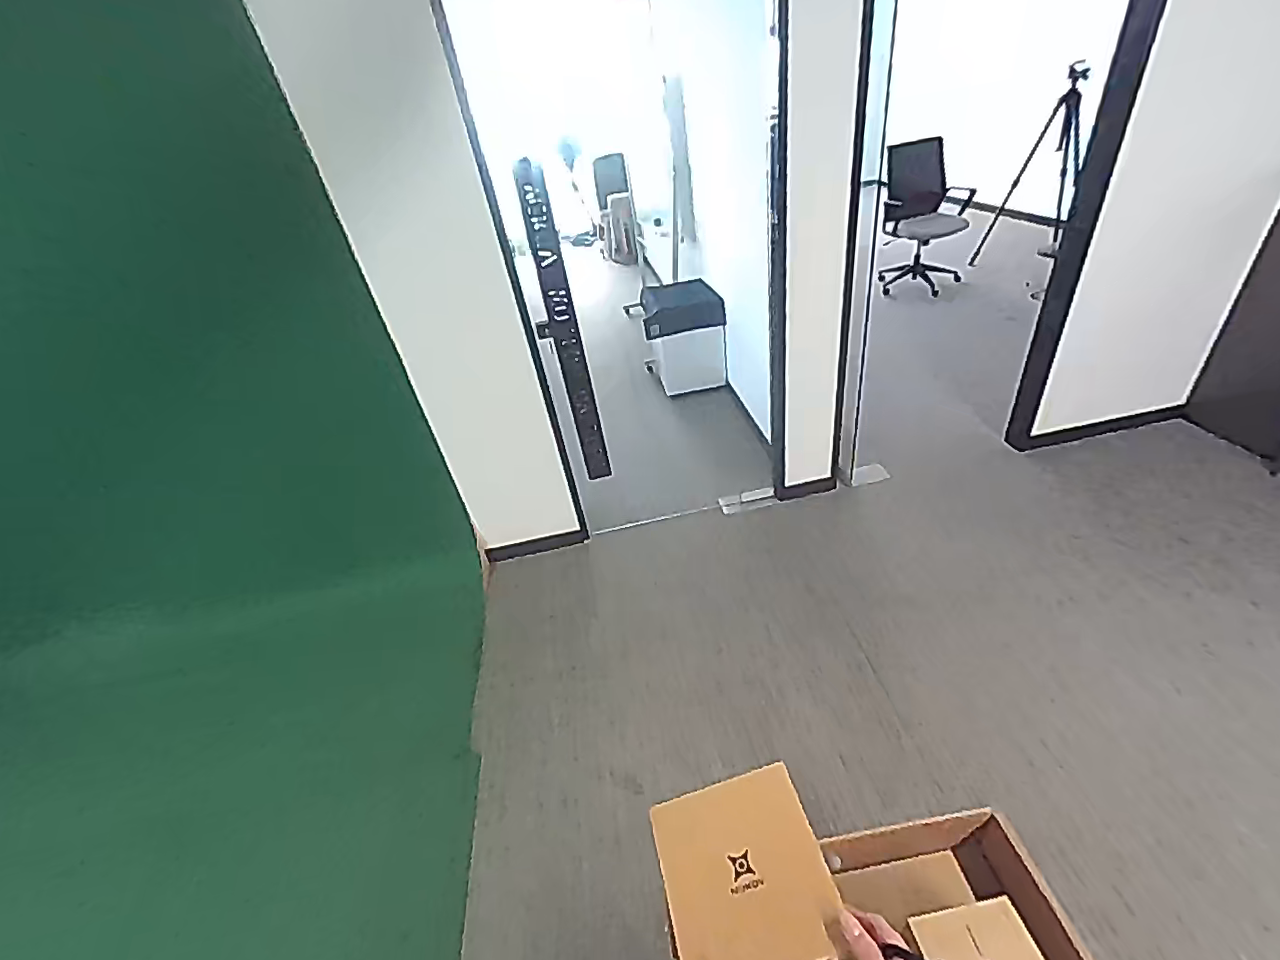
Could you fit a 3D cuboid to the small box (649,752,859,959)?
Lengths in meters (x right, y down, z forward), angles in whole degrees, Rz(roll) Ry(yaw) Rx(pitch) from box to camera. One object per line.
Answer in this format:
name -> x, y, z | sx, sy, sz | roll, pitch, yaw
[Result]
small box -> 0.119, 0.443, 0.595 | 0.168, 0.176, 0.179 | -18, 39, -1
